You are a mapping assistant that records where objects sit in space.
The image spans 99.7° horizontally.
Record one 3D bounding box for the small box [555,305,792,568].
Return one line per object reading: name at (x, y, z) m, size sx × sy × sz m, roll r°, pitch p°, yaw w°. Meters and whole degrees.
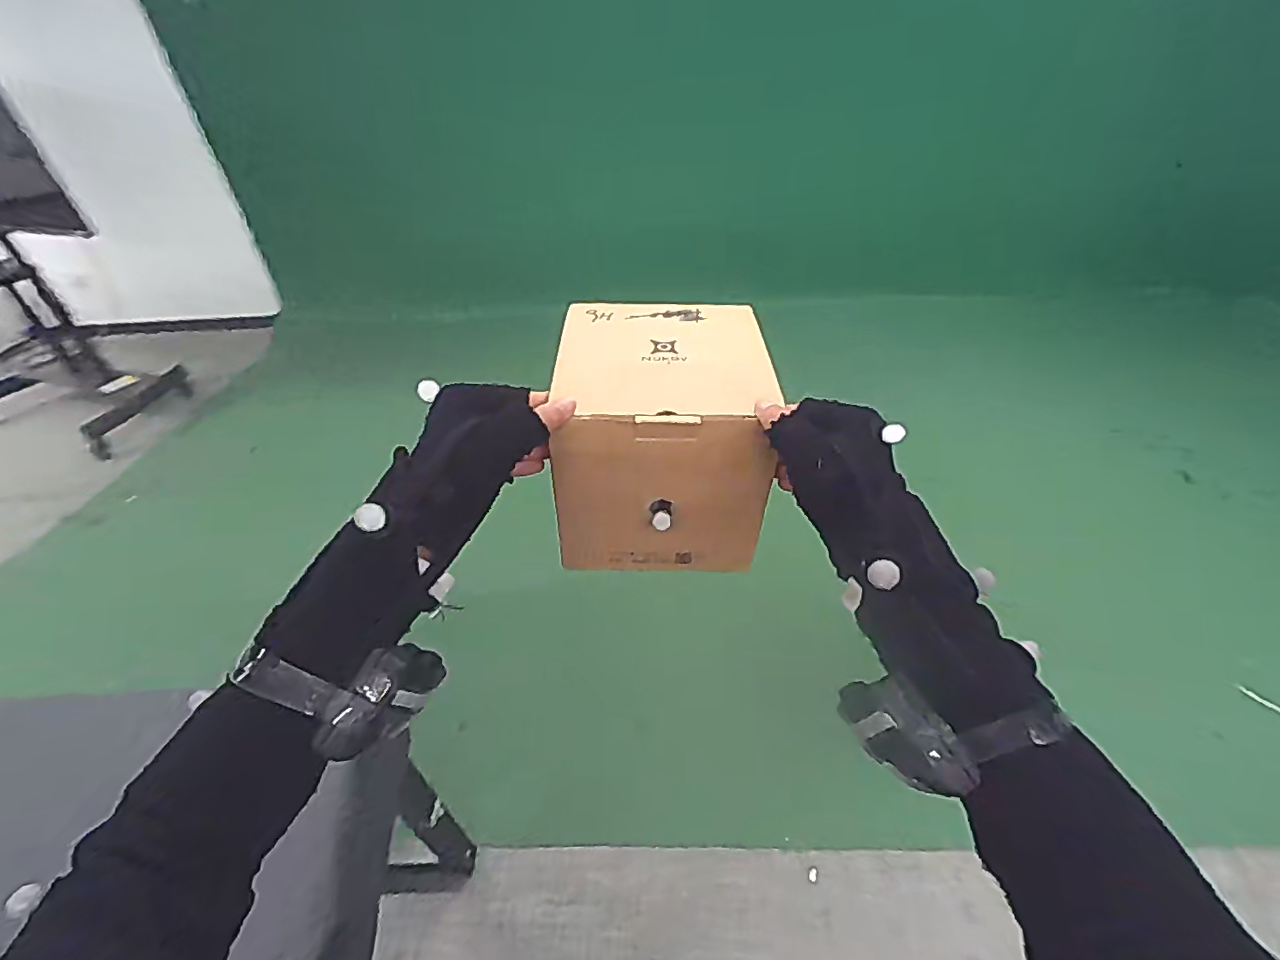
small box at (0.025, -0.038, 0.479) m, size 0.168 × 0.176 × 0.179 m, roll 1°, pitch 43°, yaw 0°
